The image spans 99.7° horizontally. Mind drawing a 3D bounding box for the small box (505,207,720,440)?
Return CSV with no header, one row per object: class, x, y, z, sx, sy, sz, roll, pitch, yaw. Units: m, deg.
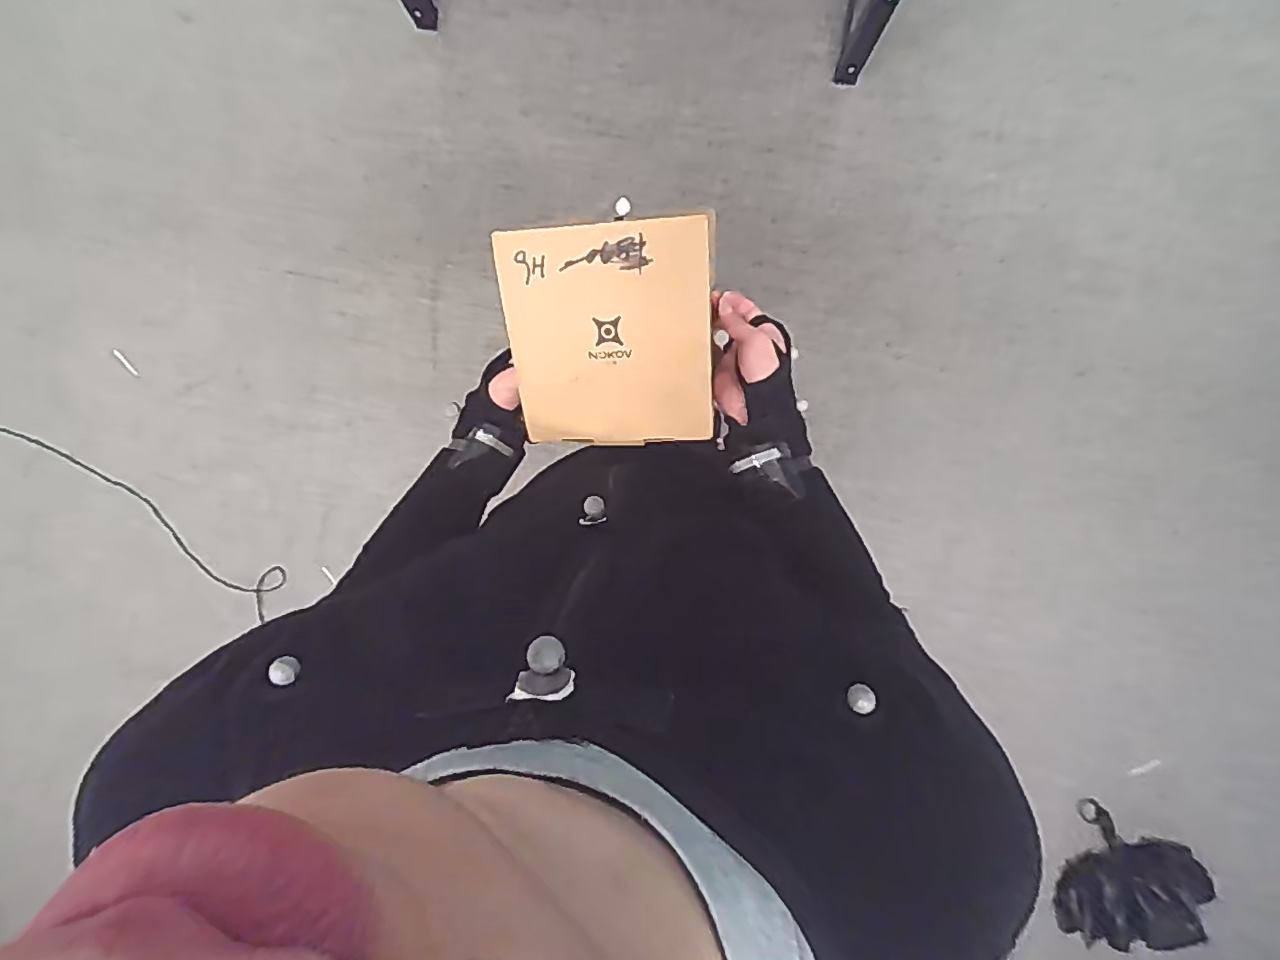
small box,-0.008,-0.153,0.515,0.168,0.176,0.179,0,120,8
